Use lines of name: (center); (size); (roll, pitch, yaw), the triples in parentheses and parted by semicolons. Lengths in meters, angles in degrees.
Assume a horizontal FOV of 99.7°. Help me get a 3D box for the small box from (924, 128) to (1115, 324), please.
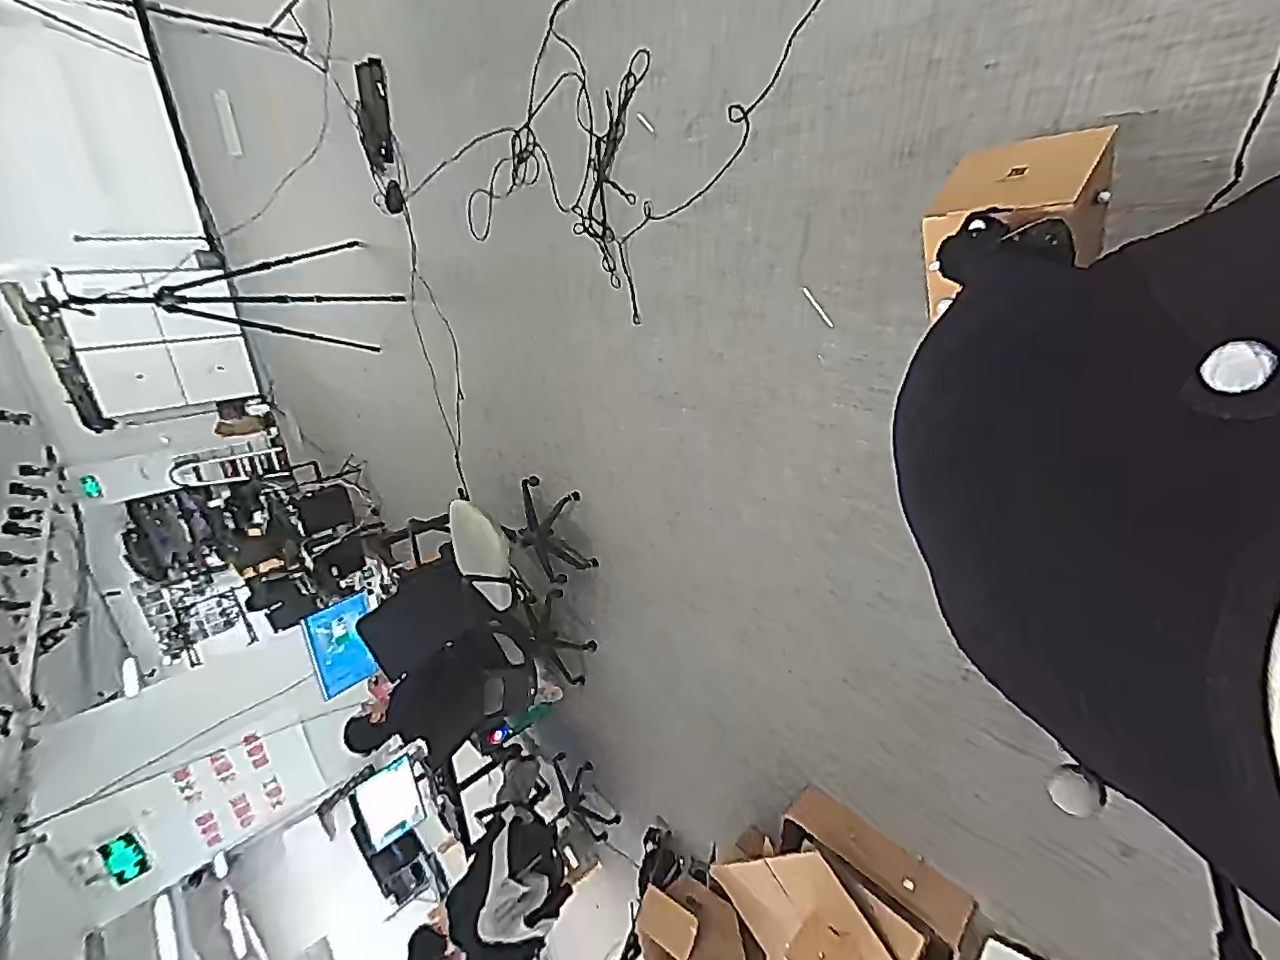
small box: (0.515, -0.341, 0.745); (0.168, 0.179, 0.176); (18, 152, 43)
